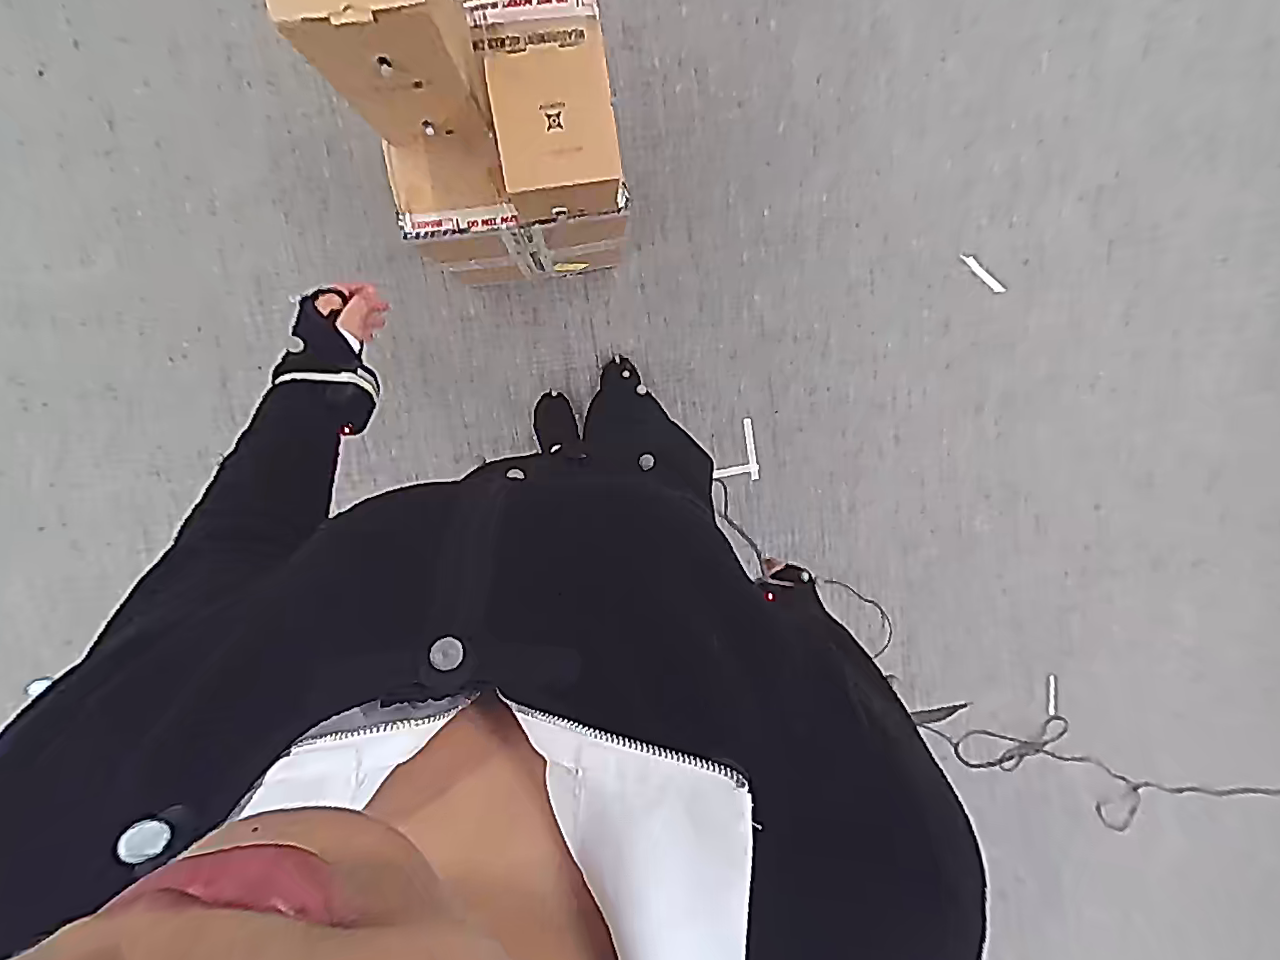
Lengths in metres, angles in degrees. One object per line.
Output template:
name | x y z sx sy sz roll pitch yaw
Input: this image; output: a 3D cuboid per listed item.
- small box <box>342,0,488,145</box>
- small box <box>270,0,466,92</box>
small box | -0.333 -0.626 0.788 0.168 0.176 0.179 -10 103 -1
small box | -0.316 -0.584 0.629 0.168 0.176 0.179 -8 103 -2
